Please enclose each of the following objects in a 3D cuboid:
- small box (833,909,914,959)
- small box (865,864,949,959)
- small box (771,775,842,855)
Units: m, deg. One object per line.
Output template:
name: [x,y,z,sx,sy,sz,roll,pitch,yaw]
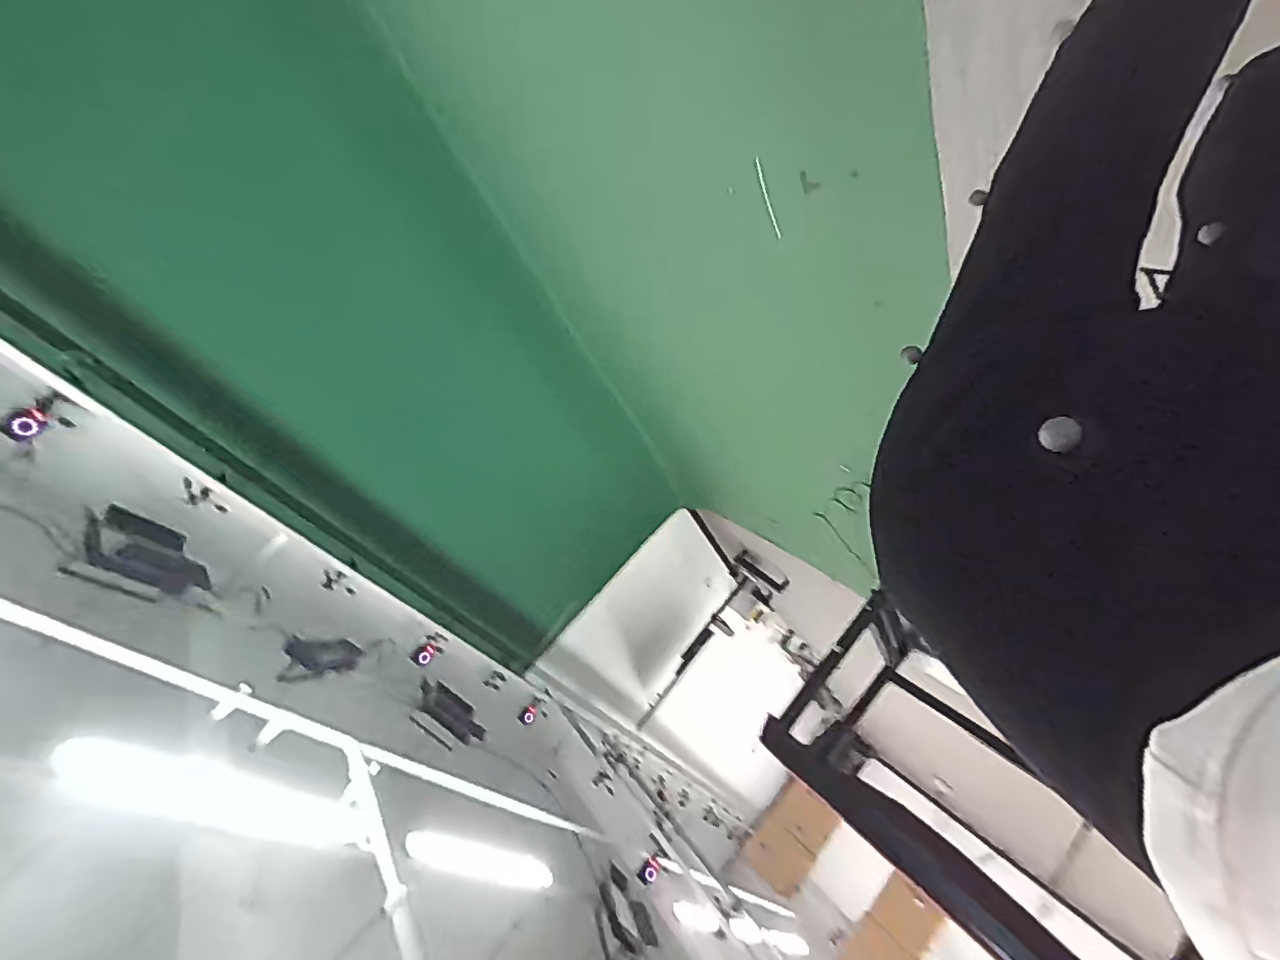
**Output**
small box: [0.716,1.442,1.623,0.179,0.176,0.168,29,162,46]
small box: [0.826,1.326,1.662,0.168,0.176,0.179,30,162,45]
small box: [0.606,1.204,1.948,0.168,0.176,0.179,30,162,44]
